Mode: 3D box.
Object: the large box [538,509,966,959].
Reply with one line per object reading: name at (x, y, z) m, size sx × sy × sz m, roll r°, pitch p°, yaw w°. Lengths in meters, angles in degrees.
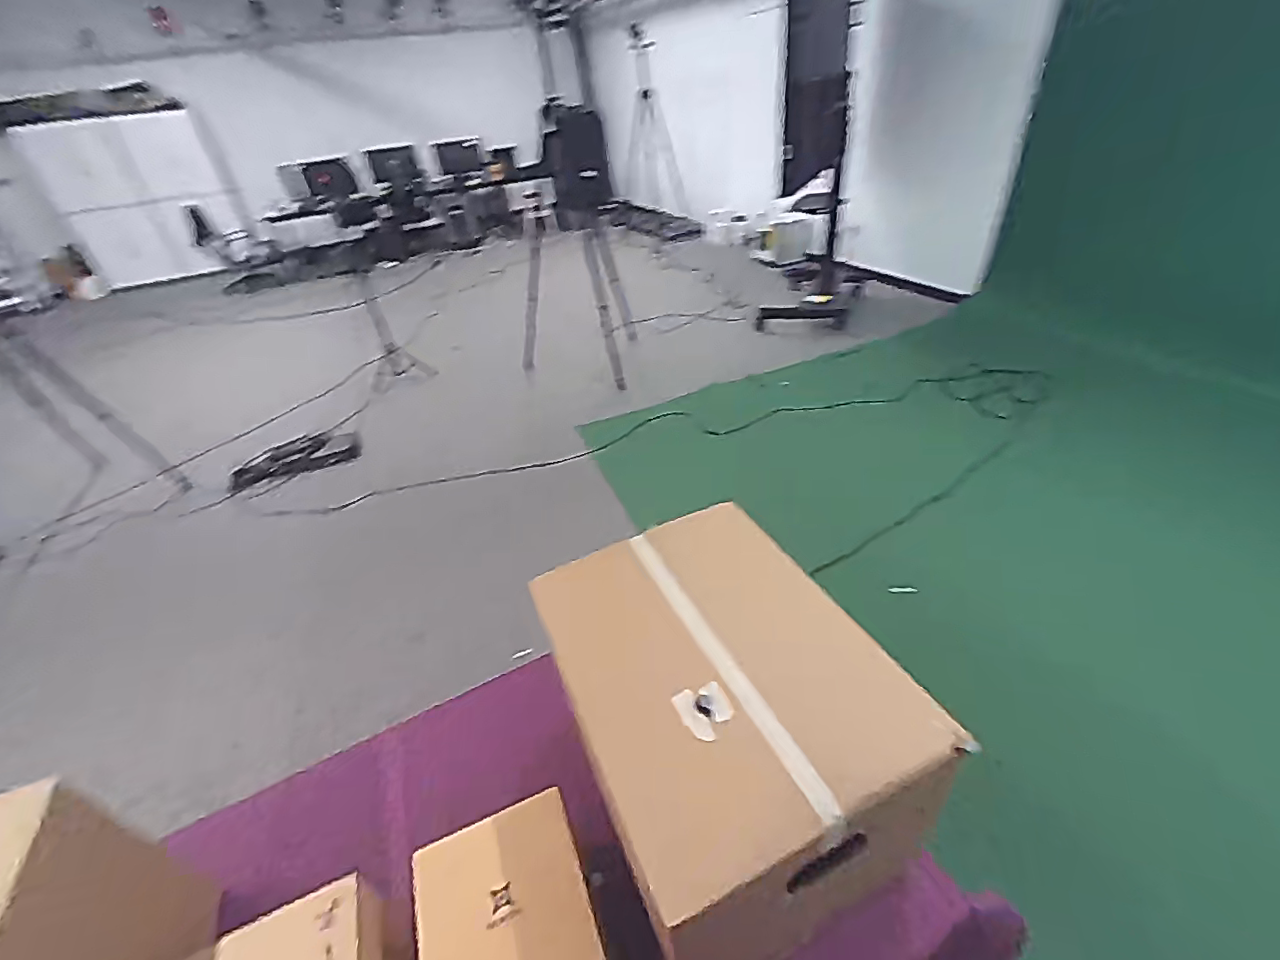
large box at (0.096, 0.305, 0.694) m, size 0.320 × 0.320 × 0.408 m, roll -19°, pitch 39°, yaw -17°
